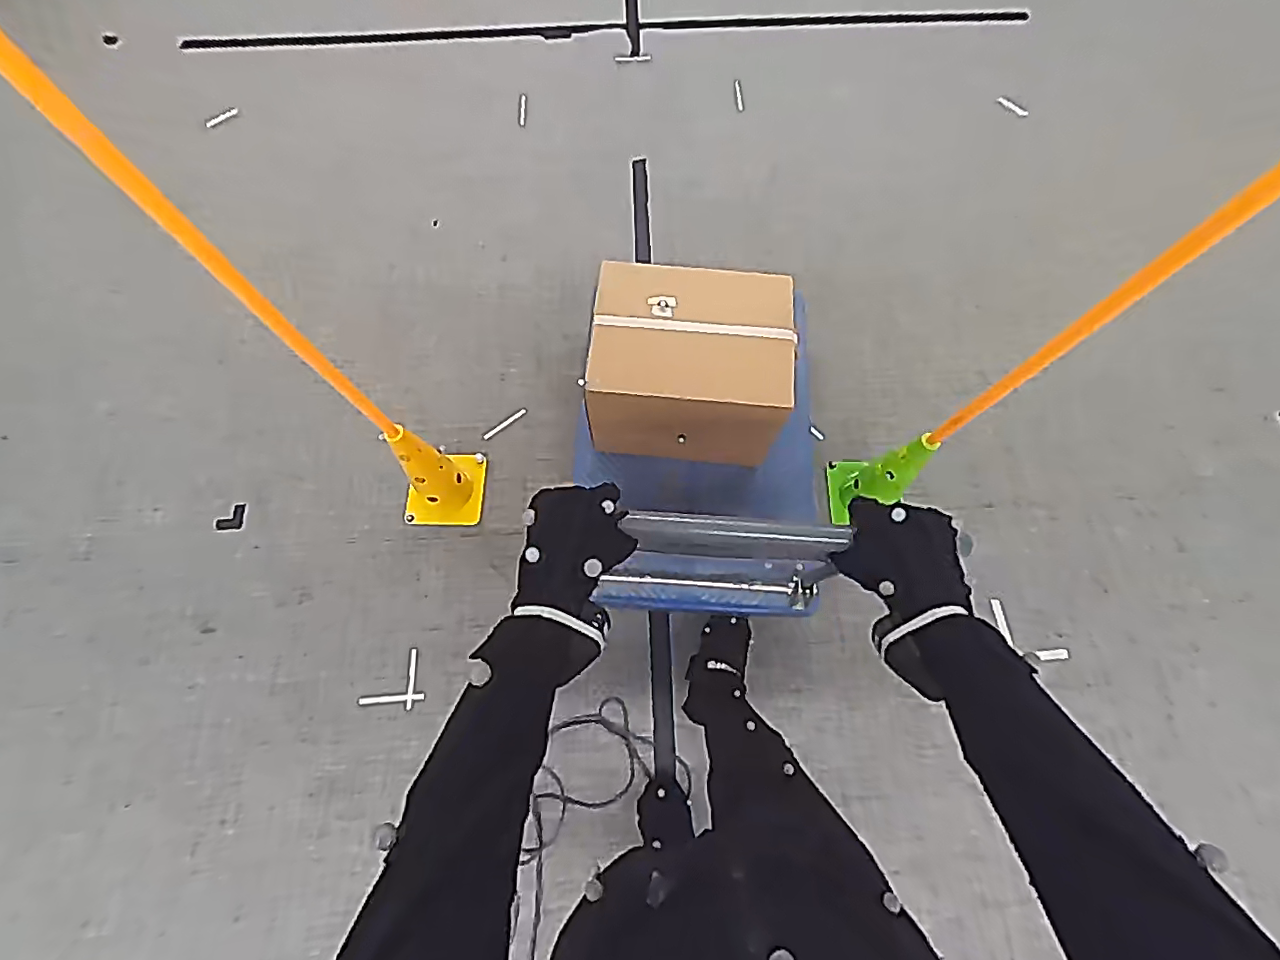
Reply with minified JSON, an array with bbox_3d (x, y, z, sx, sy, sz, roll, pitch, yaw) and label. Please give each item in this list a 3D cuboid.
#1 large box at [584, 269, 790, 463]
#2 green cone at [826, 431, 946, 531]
[{"bbox_3d":[0.104,-0.243,1.229,0.408,0.320,0.320,5,70,2],"label":"large box"},{"bbox_3d":[0.614,-0.020,1.301,0.202,0.368,0.200,2,70,-1],"label":"green cone"}]
